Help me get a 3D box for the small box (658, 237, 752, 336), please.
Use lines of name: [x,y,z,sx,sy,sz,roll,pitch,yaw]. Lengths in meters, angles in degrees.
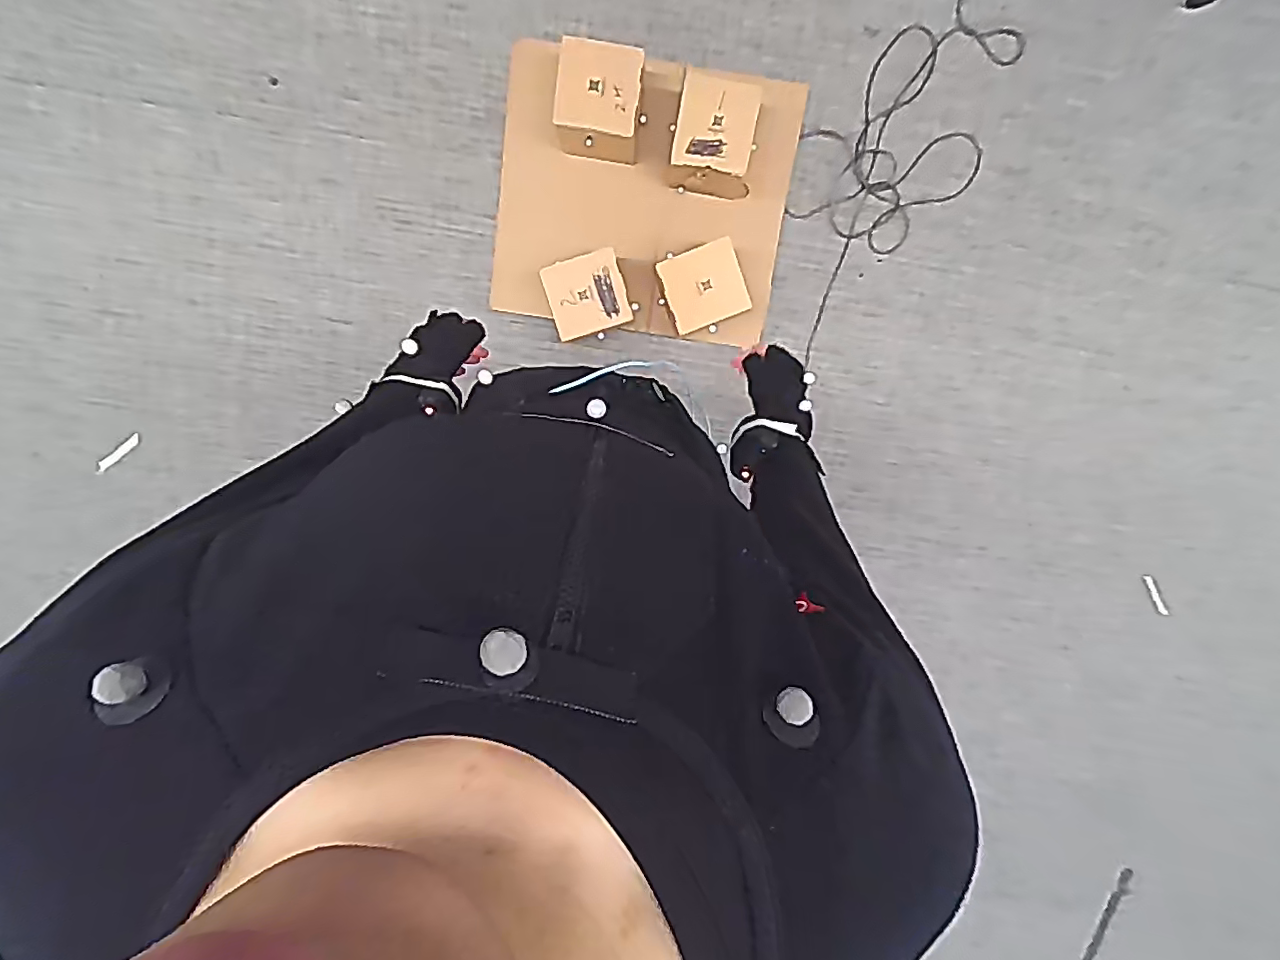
small box: [0.147,-0.454,1.294,0.179,0.176,0.168,-20,101,6]
